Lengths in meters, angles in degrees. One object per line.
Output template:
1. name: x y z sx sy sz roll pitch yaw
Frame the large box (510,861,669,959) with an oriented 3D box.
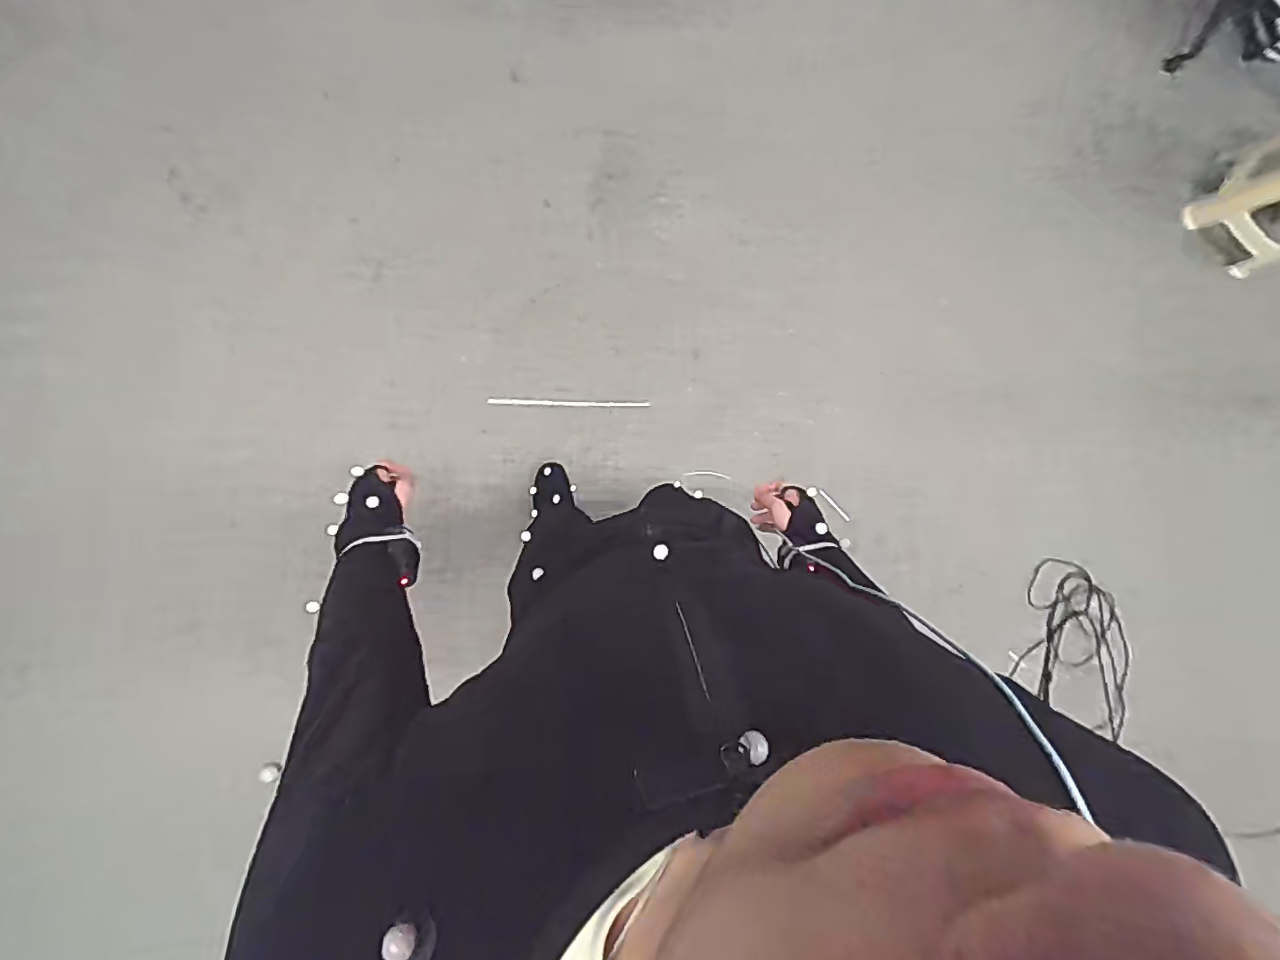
1. large box: -0.125 1.339 1.482 0.408 0.320 0.320 -8 91 -8
